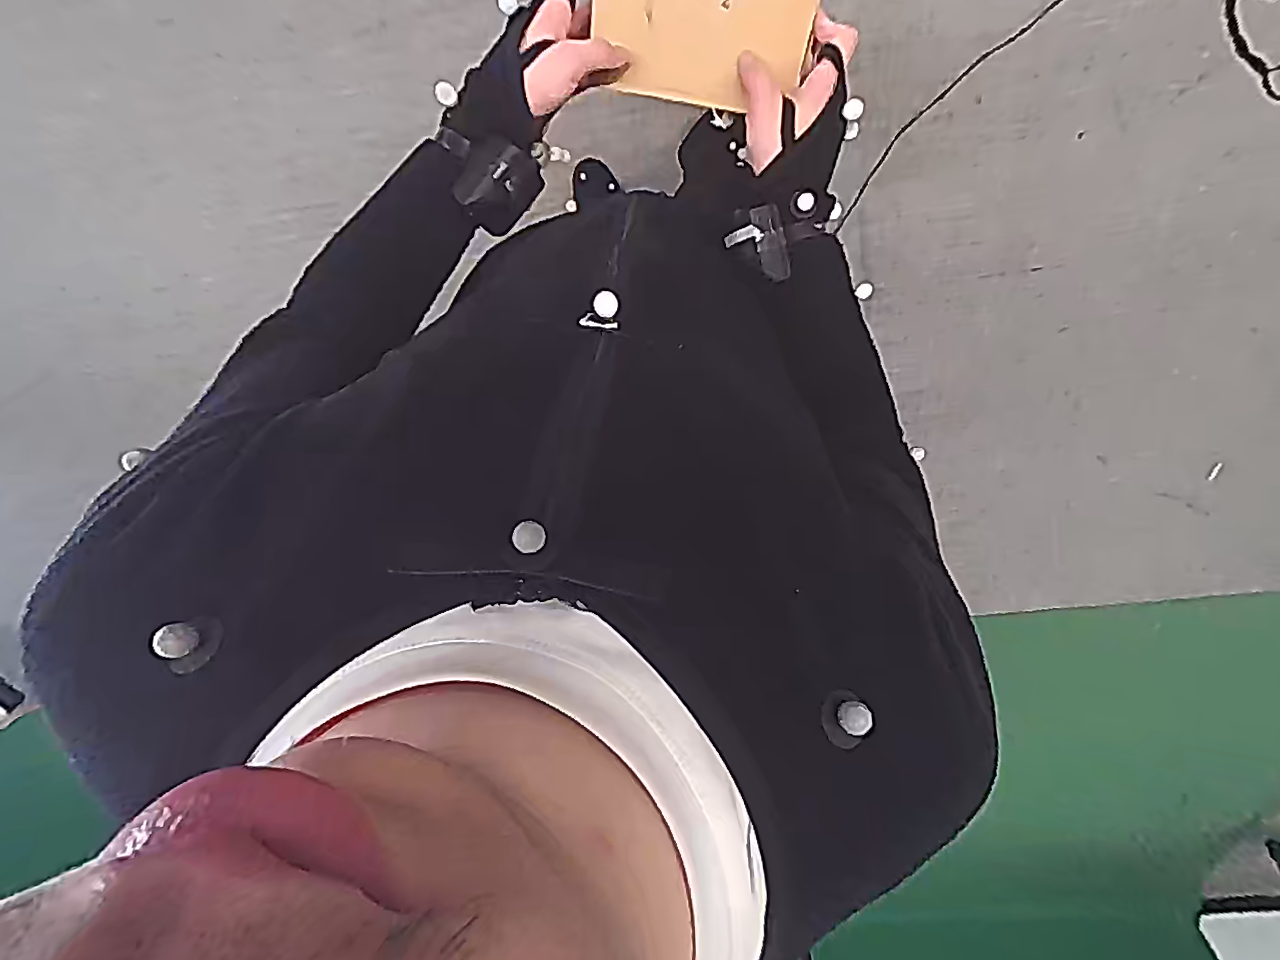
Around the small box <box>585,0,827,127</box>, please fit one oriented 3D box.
[{"bbox_3d":[0.056,-0.418,0.458,0.179,0.176,0.168,9,126,-5],"label":"small box"}]
